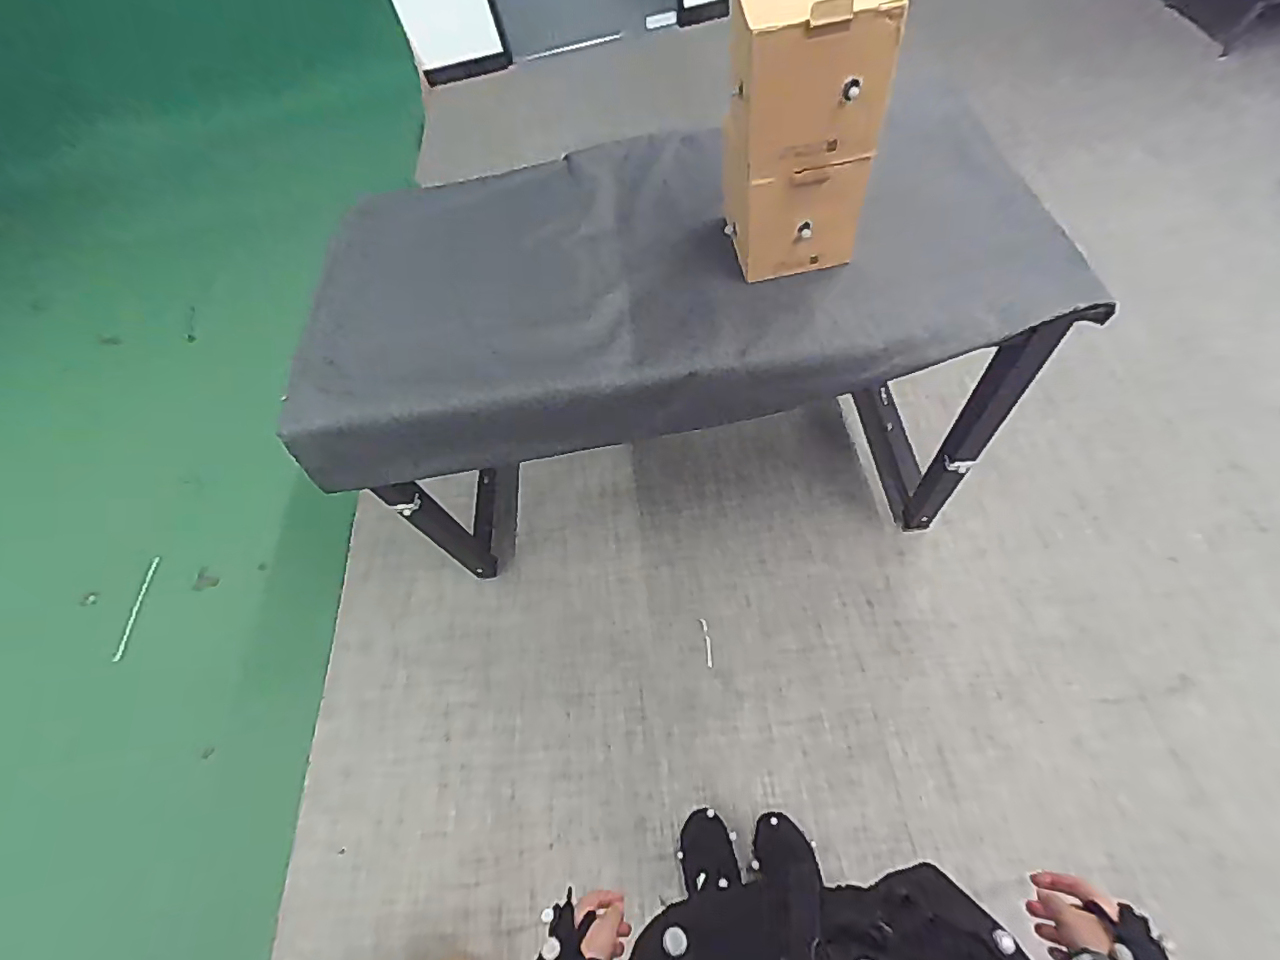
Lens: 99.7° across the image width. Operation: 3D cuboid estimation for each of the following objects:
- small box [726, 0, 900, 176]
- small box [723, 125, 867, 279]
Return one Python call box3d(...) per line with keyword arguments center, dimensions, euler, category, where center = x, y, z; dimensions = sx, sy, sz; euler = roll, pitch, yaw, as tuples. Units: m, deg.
box3d(center=(0.204, -0.512, 0.686), dimensions=(0.168, 0.176, 0.179), euler=(-7, 58, 5), category="small box")
box3d(center=(0.225, -0.429, 0.825), dimensions=(0.168, 0.176, 0.179), euler=(-10, 59, 4), category="small box")
